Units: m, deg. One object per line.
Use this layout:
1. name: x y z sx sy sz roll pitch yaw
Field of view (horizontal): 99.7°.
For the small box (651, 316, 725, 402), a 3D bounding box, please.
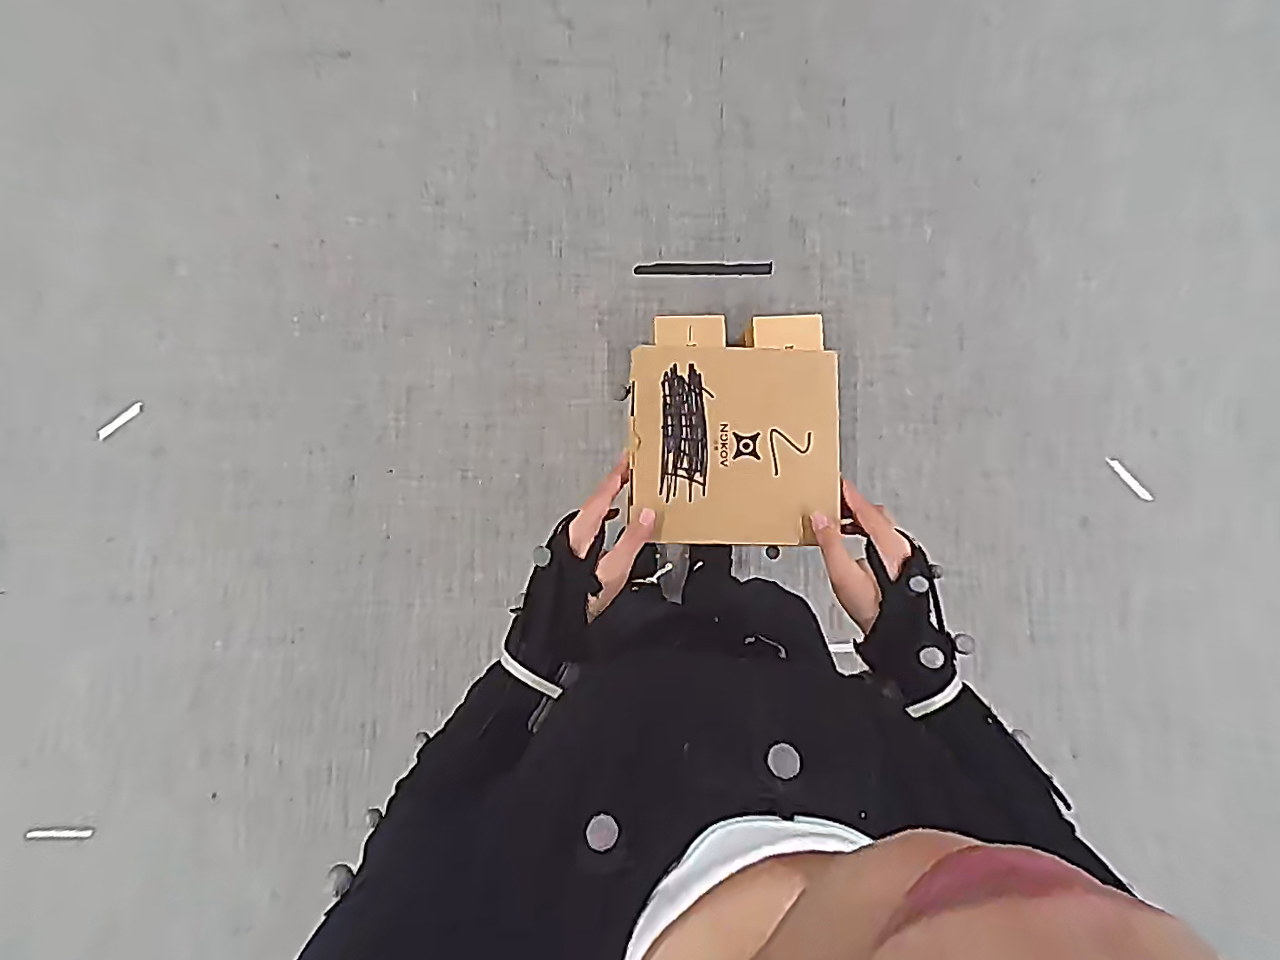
1. small box: 0.114 -0.289 1.328 0.168 0.176 0.179 -1 87 -2
